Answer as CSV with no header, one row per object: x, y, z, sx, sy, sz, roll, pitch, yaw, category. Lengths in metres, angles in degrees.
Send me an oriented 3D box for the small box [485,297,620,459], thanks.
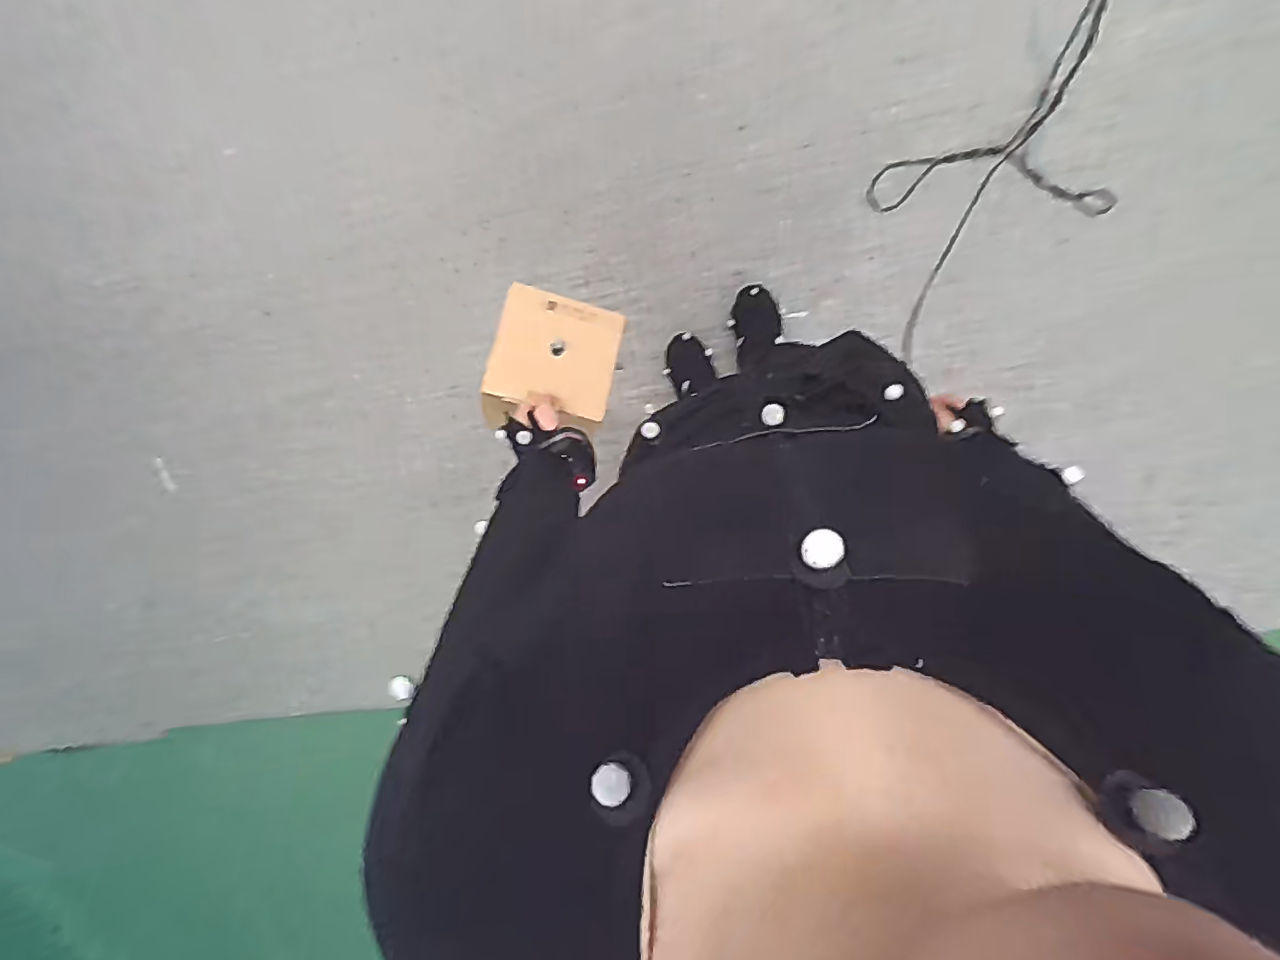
-0.132,-0.148,0.815,0.168,0.179,0.176,13,75,-11,small box
